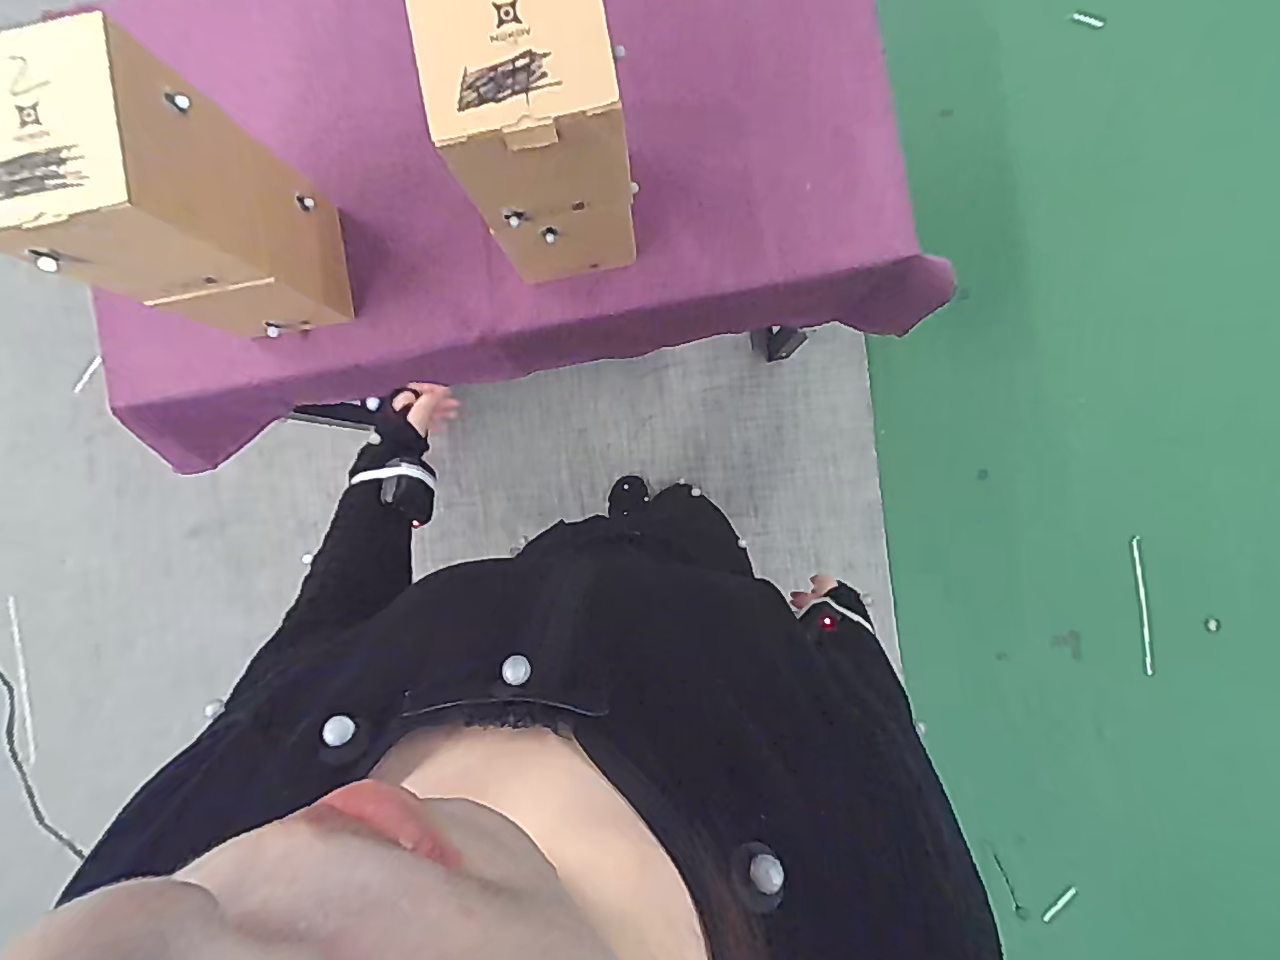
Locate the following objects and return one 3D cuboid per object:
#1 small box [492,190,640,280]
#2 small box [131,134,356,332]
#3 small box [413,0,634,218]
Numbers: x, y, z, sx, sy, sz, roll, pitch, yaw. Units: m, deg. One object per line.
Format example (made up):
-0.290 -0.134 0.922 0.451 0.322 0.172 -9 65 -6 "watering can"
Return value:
-0.096 -0.386 0.700 0.168 0.176 0.179 -9 90 4 "small box"
-0.510 -0.314 0.720 0.168 0.176 0.179 -8 91 3 "small box"
-0.102 -0.385 0.536 0.168 0.176 0.179 -10 90 3 "small box"
